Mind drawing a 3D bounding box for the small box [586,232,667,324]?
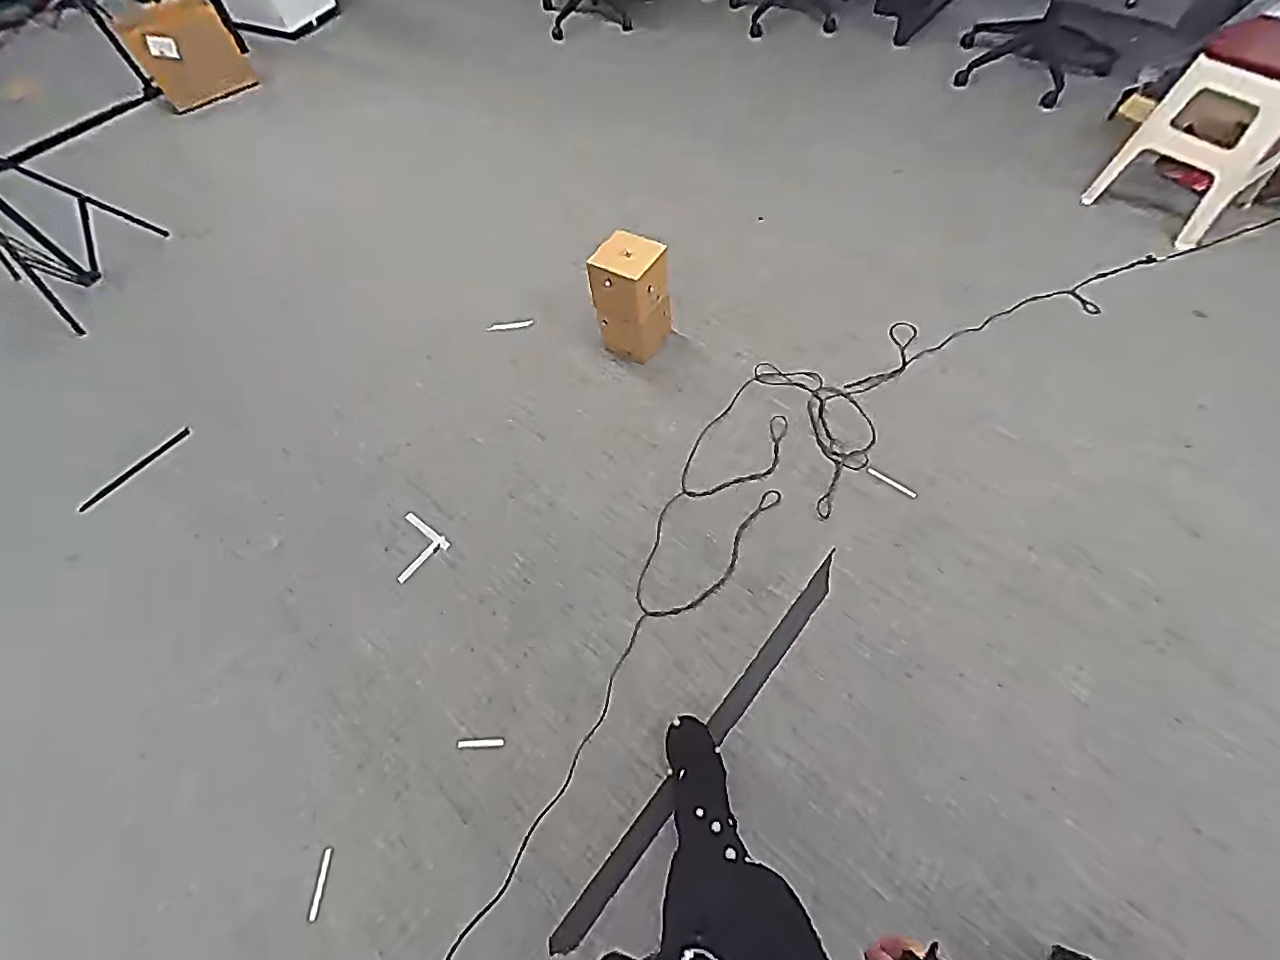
[{"bbox_3d":[-0.031,-0.588,1.591,0.179,0.176,0.168,26,65,20],"label":"small box"}]
